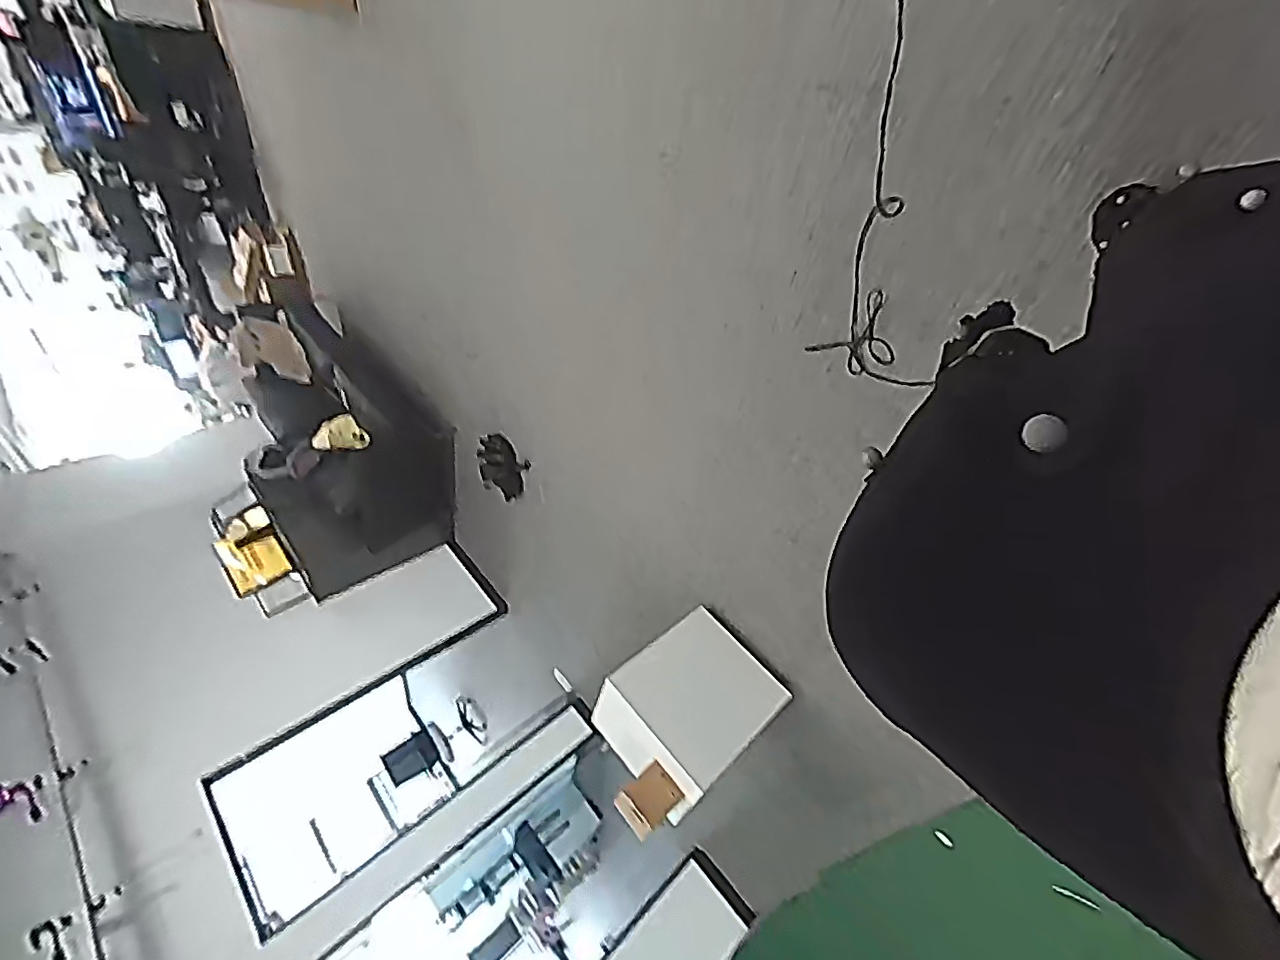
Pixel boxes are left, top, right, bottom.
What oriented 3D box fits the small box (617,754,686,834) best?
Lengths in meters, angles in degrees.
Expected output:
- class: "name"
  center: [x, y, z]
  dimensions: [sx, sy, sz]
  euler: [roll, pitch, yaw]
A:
- class: "small box"
  center: [0.045, 1.142, 1.977]
  dimensions: [0.168, 0.176, 0.179]
  euler: [44, 140, 26]
